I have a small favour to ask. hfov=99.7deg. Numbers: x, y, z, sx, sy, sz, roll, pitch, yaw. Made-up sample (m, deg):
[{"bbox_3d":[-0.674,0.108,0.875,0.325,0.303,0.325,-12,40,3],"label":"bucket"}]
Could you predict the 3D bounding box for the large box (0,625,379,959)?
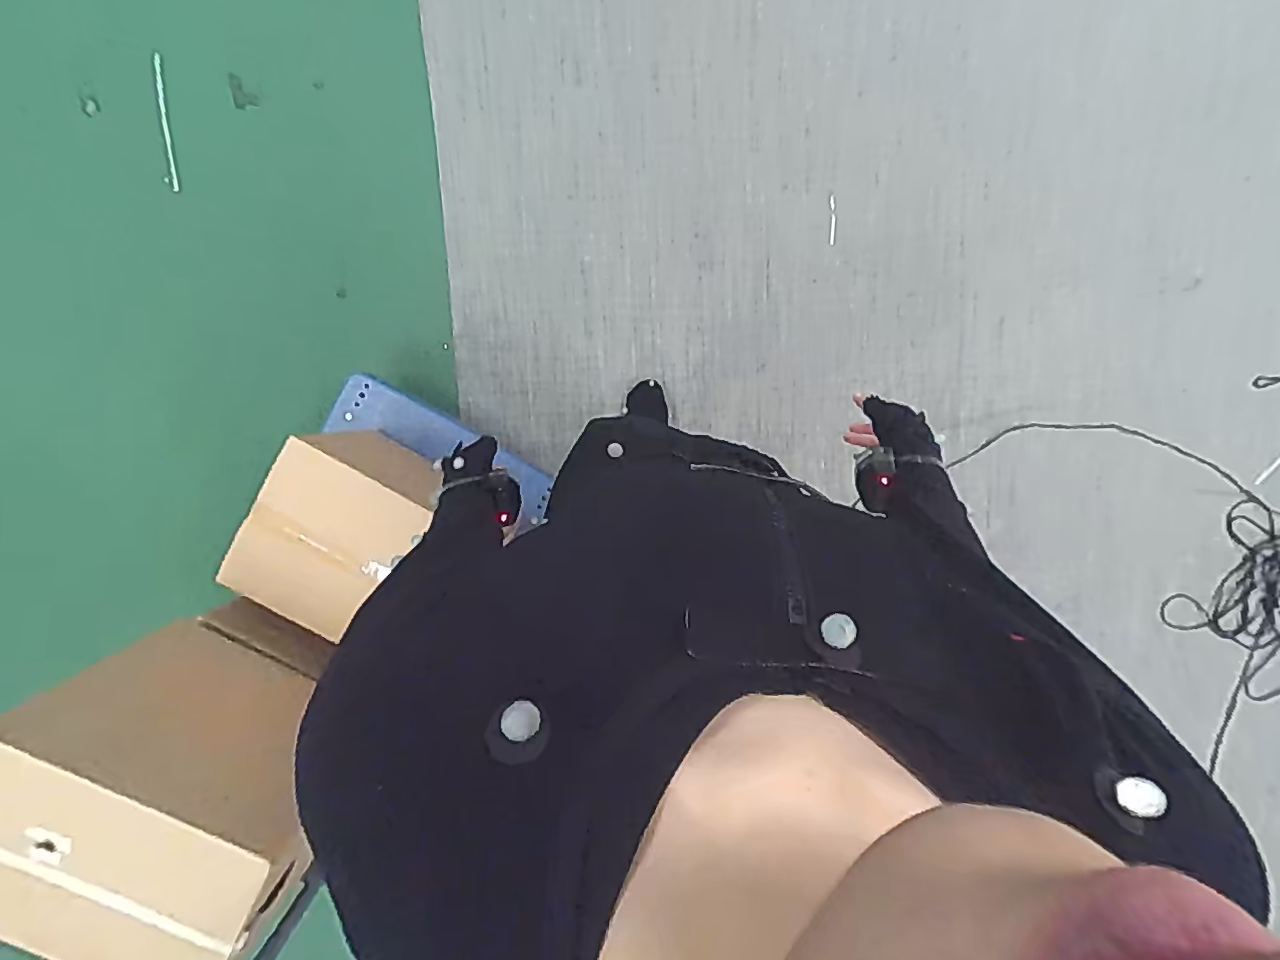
[{"bbox_3d":[-0.712,0.500,0.845,0.408,0.320,0.320,28,100,-3],"label":"large box"}]
